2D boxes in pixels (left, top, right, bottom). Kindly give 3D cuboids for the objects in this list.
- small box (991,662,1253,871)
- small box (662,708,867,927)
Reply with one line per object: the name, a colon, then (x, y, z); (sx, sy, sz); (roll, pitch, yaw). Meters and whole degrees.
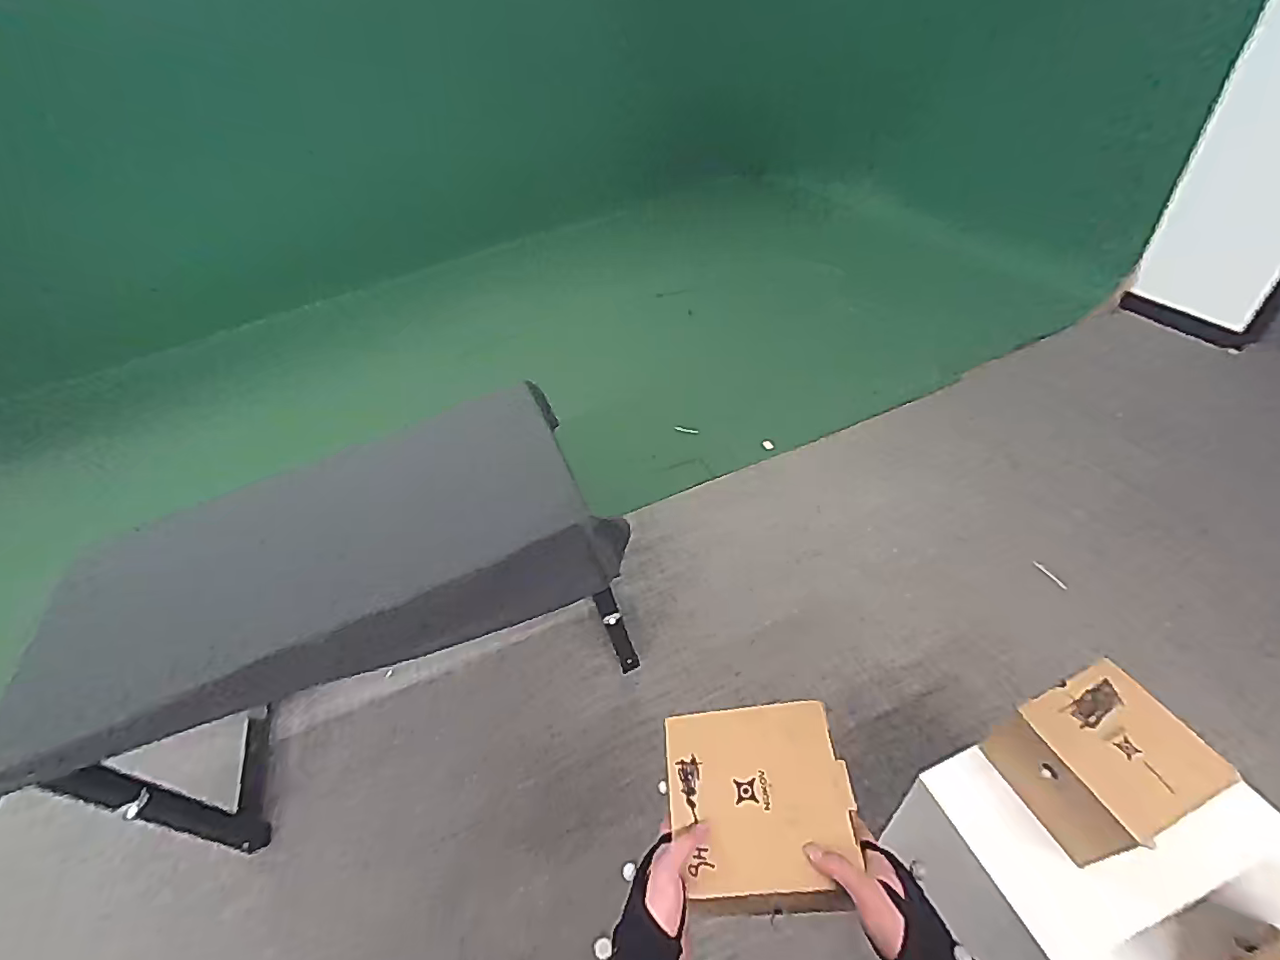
small box: (0.627, 0.389, 0.735); (0.168, 0.176, 0.179); (-23, 47, -9)
small box: (0.126, 0.368, 0.586); (0.179, 0.176, 0.168); (-10, 44, 8)
